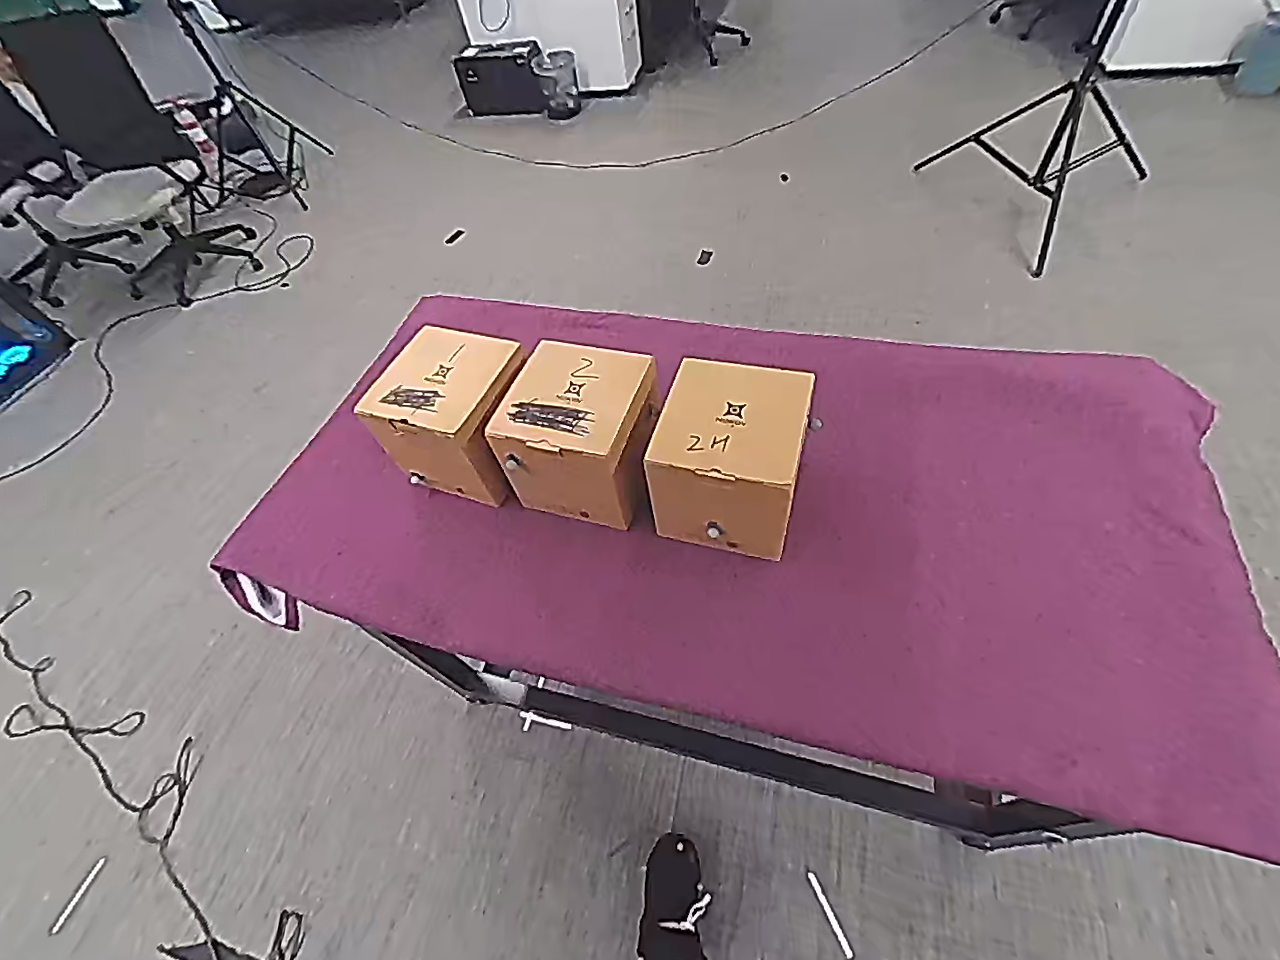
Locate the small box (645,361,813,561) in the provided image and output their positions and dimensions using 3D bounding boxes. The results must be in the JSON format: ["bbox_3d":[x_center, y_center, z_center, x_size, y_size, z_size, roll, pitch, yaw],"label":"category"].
[{"bbox_3d":[0.116,-0.023,0.692,0.168,0.176,0.179,10,56,17],"label":"small box"}]
